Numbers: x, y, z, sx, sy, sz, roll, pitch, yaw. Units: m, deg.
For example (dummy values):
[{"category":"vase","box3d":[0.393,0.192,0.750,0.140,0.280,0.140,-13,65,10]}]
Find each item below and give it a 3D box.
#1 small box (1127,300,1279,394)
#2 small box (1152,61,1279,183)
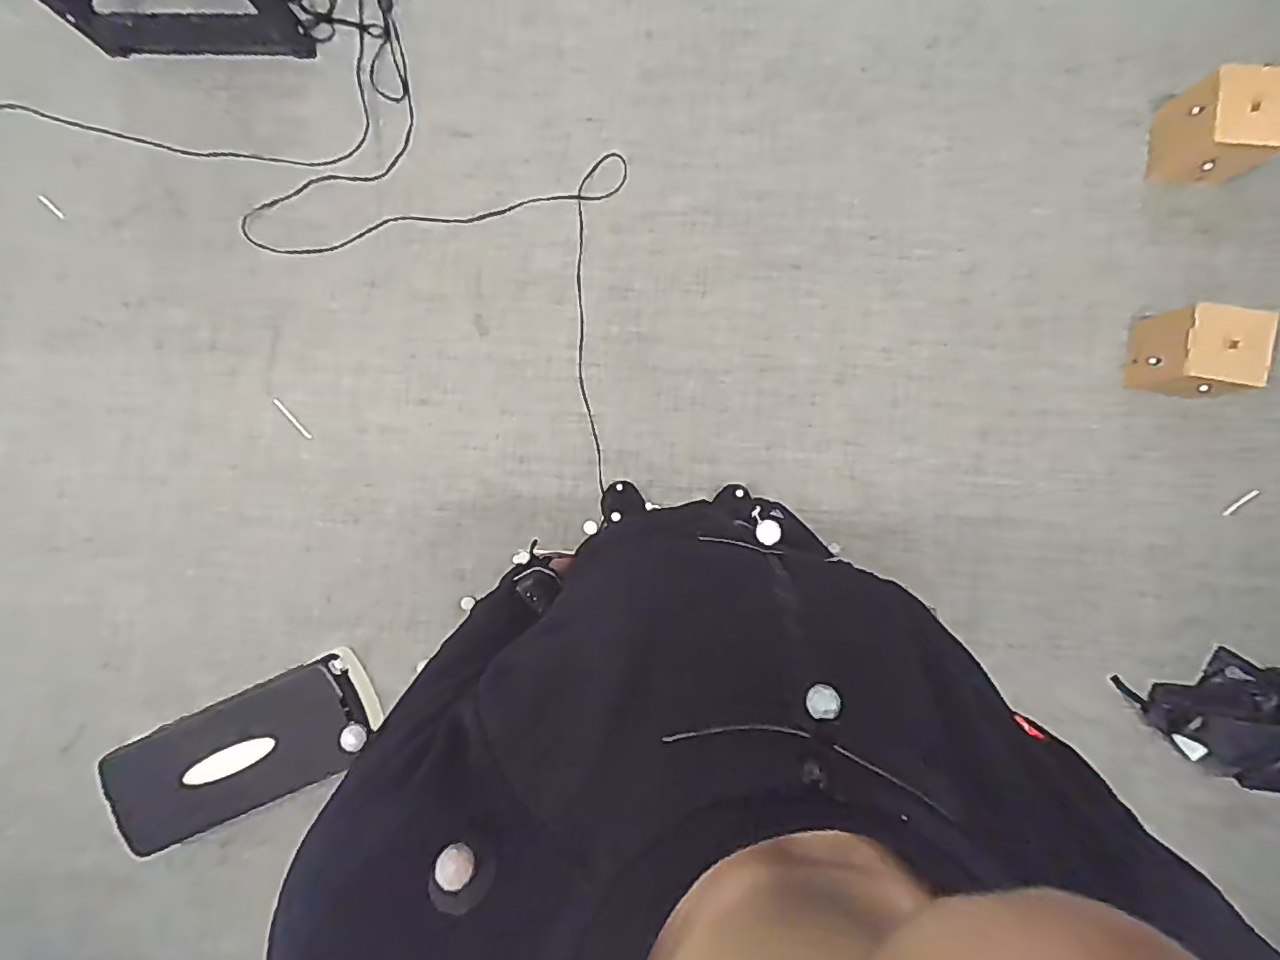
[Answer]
[{"category":"small box","box3d":[1.293,-0.300,1.253,0.179,0.176,0.168,9,91,2]},{"category":"small box","box3d":[1.348,-0.820,1.255,0.168,0.176,0.179,6,89,3]}]
